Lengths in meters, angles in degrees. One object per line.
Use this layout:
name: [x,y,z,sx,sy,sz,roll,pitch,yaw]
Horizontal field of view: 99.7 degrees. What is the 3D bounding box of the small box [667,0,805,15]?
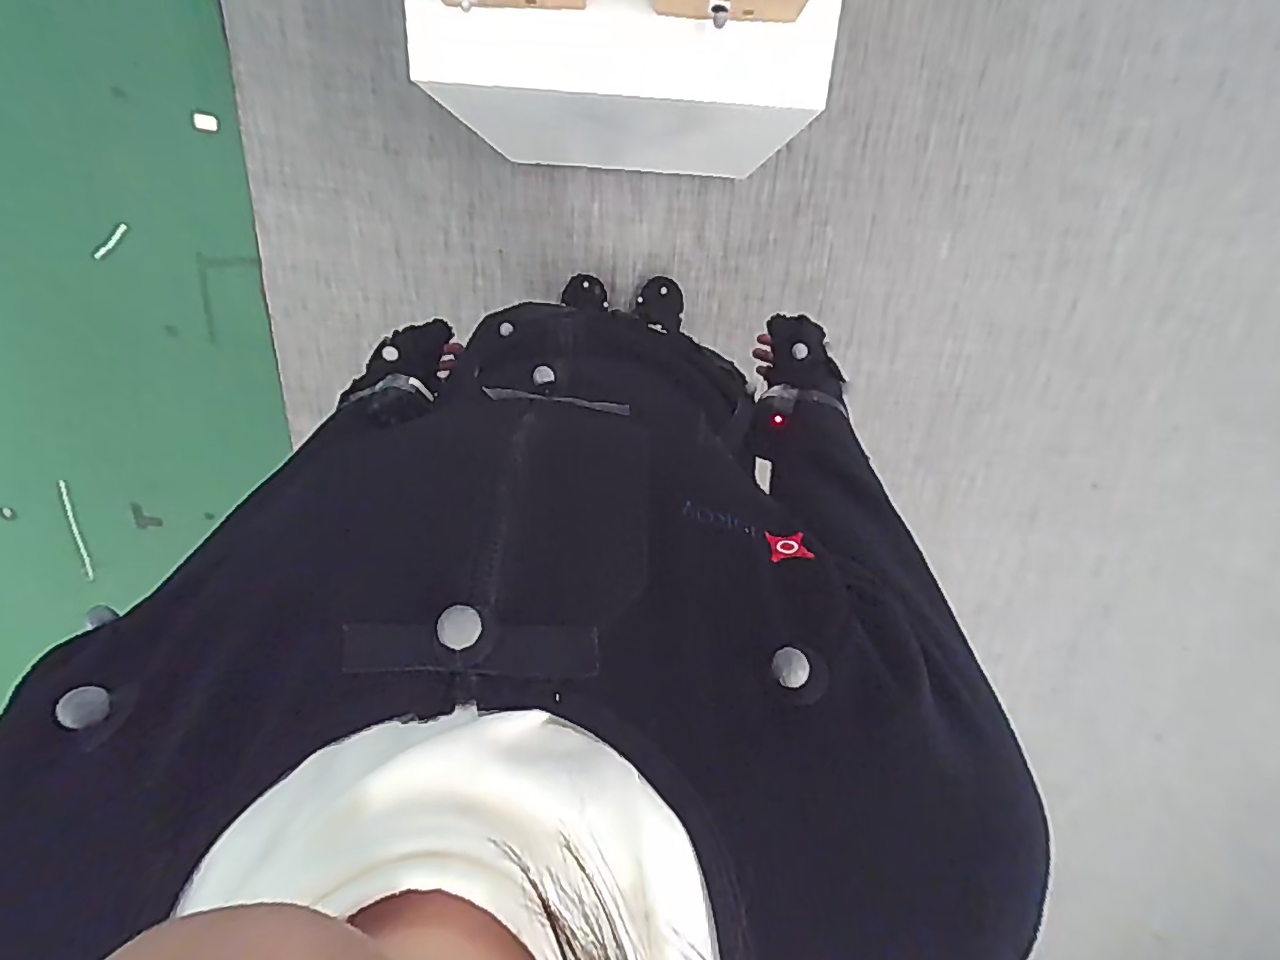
small box: [0.103,-0.584,0.511,0.168,0.176,0.179,2,113,2]
